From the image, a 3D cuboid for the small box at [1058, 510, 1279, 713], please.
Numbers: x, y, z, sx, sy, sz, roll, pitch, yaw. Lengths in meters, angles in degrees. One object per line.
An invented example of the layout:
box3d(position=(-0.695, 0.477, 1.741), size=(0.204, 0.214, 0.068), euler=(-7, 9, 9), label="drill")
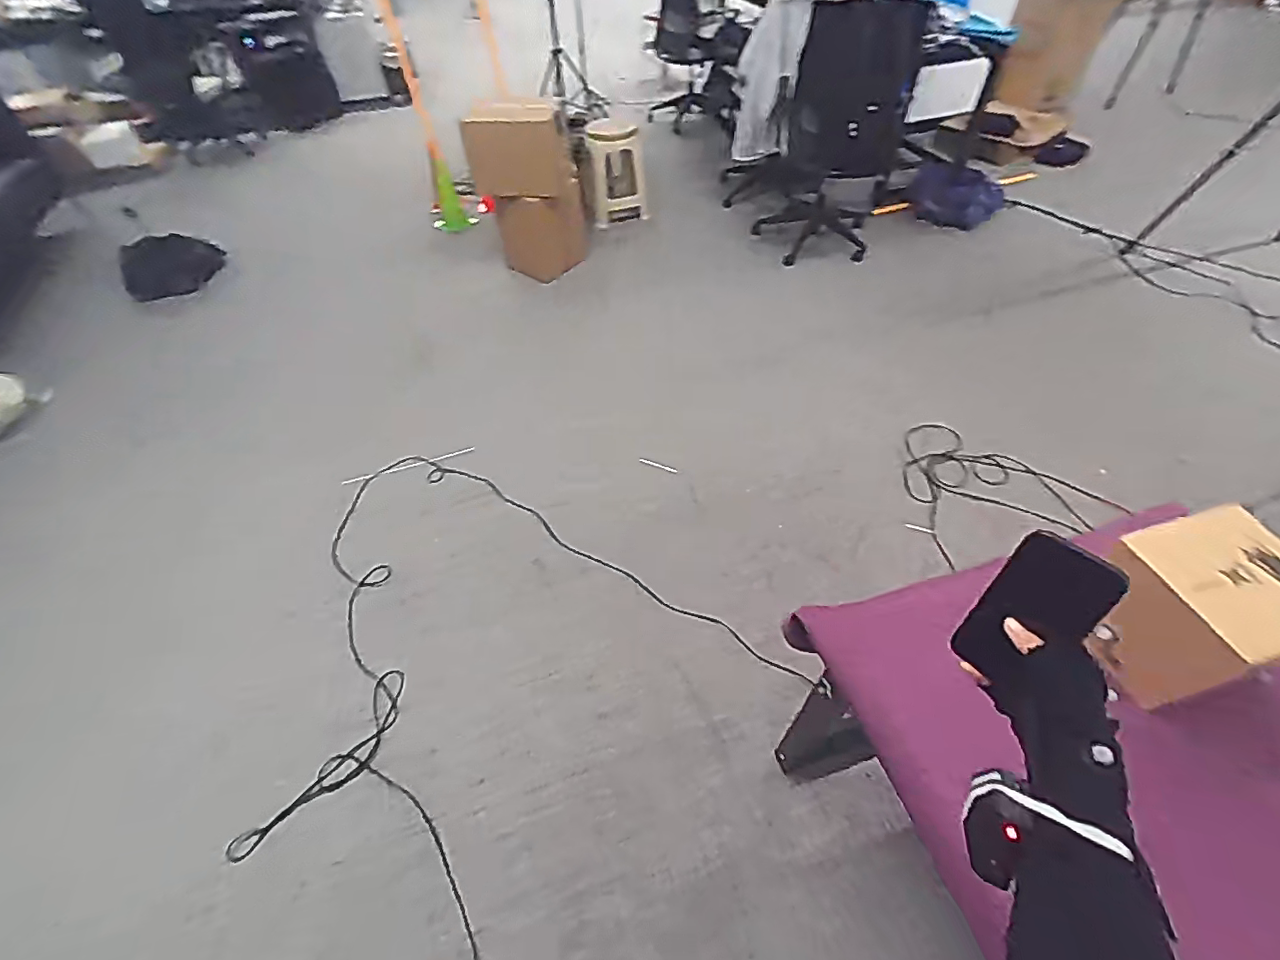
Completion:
box3d(position=(0.689, 0.166, 0.674), size=(0.179, 0.176, 0.168), euler=(-13, 51, -7), label="small box")
